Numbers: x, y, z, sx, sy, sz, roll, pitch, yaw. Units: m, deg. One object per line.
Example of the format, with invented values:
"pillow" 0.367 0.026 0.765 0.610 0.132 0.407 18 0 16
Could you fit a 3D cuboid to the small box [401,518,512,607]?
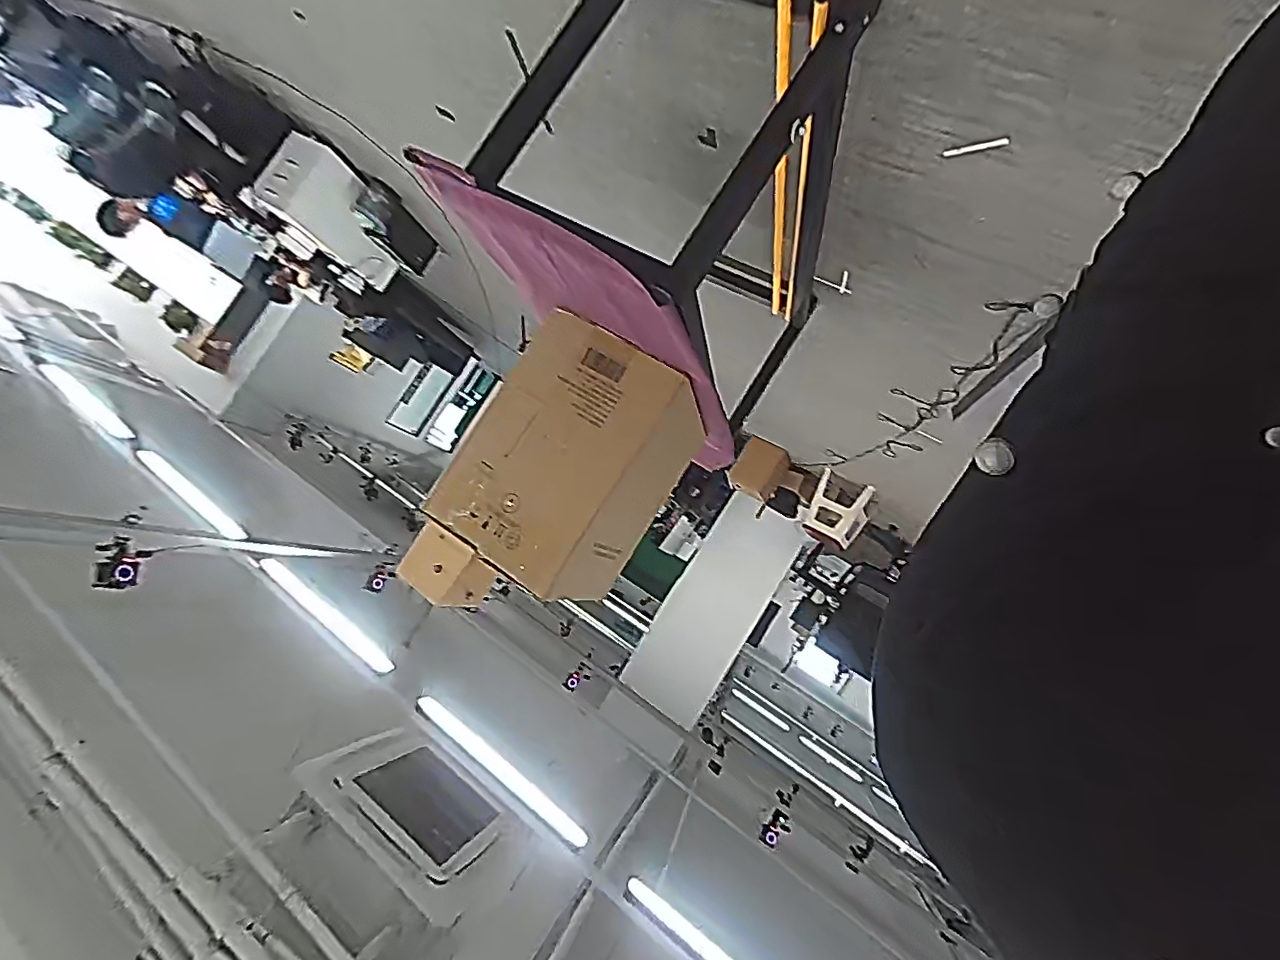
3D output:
"small box" -0.473 0.214 1.412 0.168 0.176 0.179 31 178 21
